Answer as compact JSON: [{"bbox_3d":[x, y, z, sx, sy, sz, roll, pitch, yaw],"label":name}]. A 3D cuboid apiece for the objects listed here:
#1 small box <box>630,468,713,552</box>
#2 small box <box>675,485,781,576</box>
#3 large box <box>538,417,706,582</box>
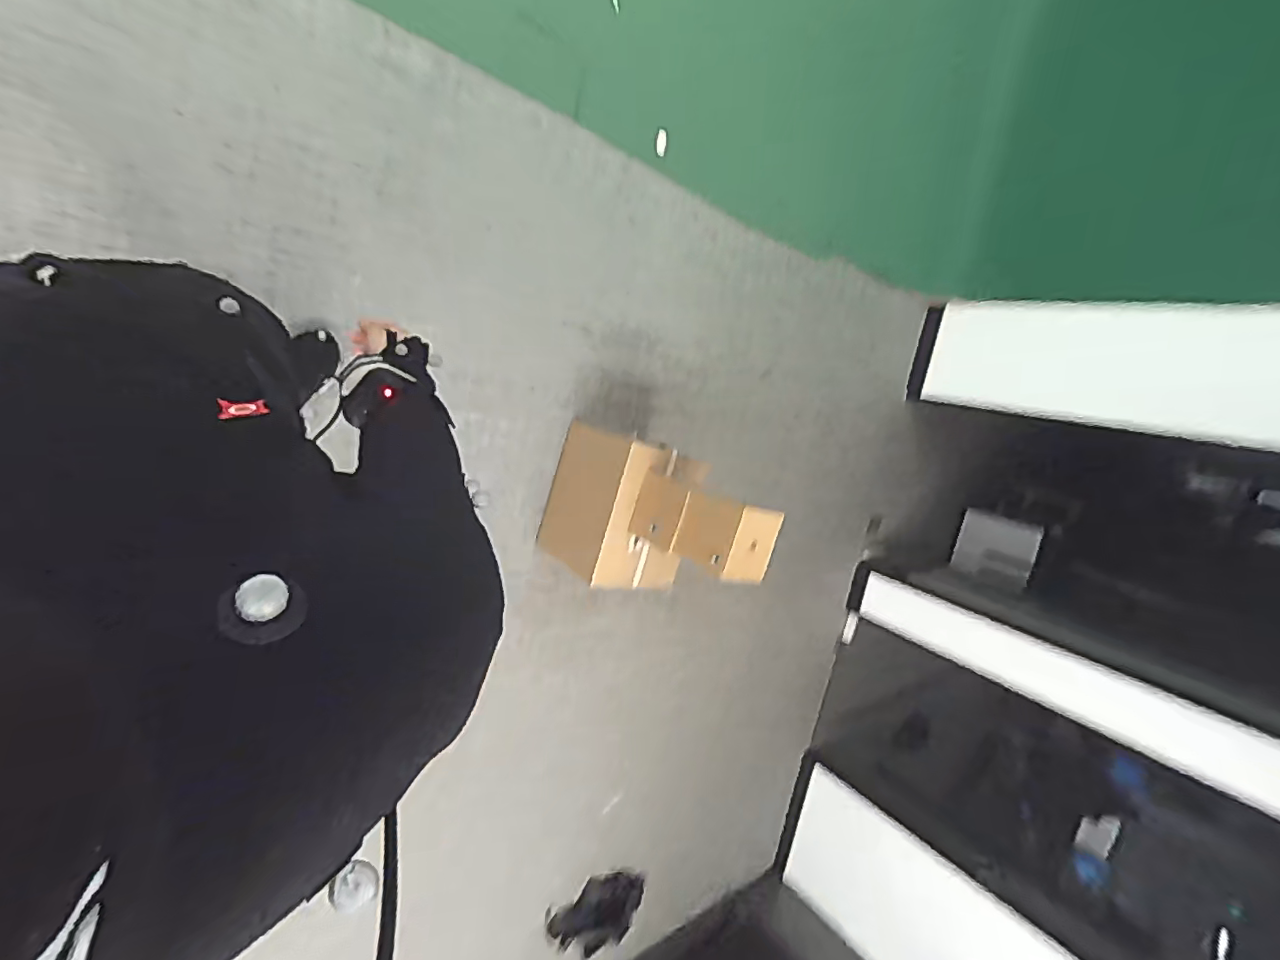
[{"bbox_3d":[0.097,0.081,1.432,0.168,0.176,0.179,11,97,-43],"label":"small box"},{"bbox_3d":[0.211,0.120,1.322,0.168,0.176,0.179,11,99,-43],"label":"small box"},{"bbox_3d":[-0.060,0.056,1.620,0.320,0.320,0.408,11,99,-41],"label":"large box"}]
